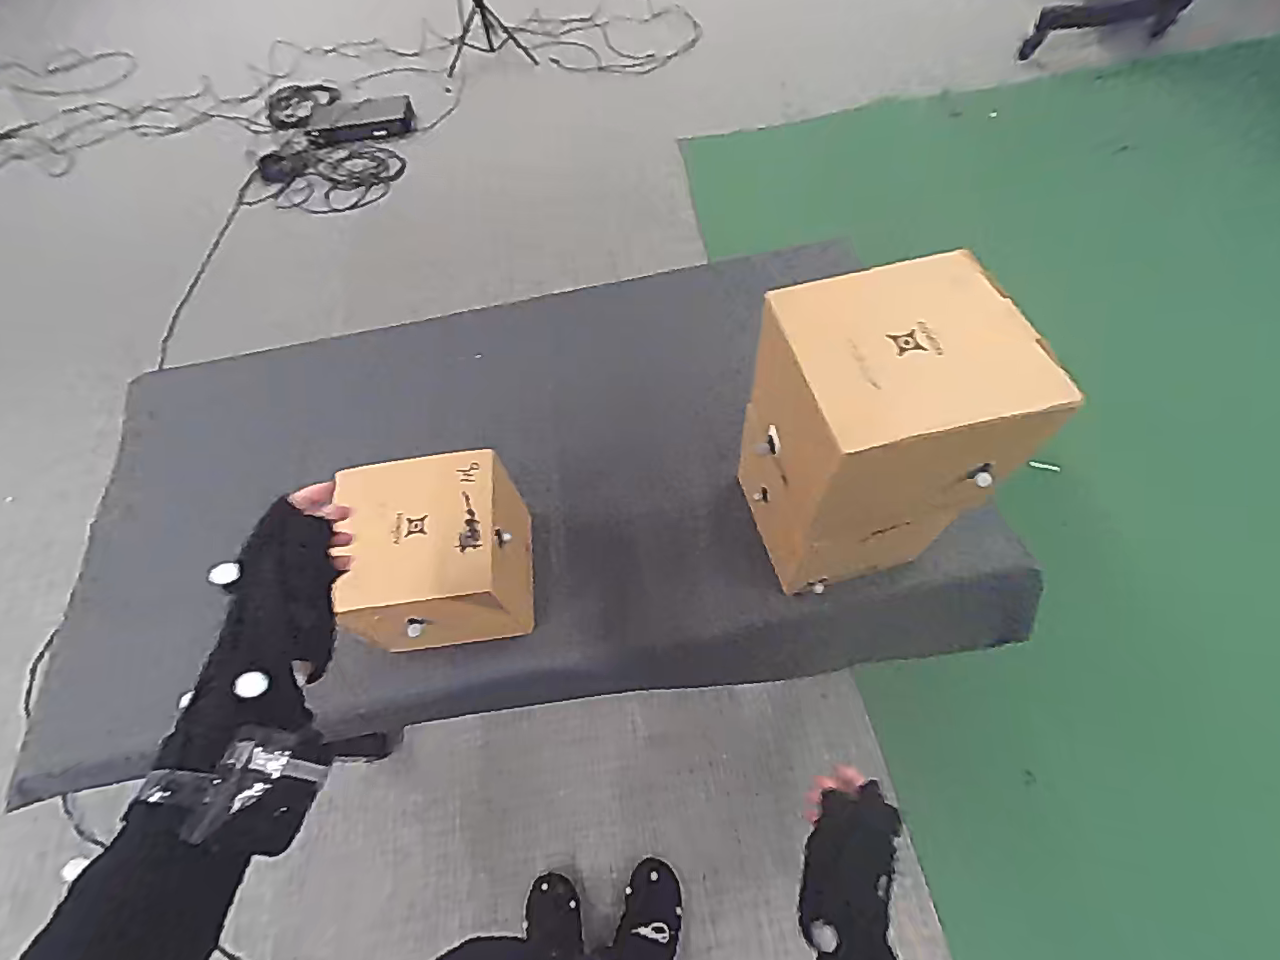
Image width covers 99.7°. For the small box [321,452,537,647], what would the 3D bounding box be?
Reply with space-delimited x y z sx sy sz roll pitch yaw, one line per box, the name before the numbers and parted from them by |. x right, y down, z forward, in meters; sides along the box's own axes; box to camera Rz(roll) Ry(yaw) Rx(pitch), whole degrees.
small box | -0.228 0.089 0.634 0.179 0.176 0.168 -8 60 1

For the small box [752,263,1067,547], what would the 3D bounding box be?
small box | 0.212 -0.058 0.489 0.179 0.176 0.168 -14 59 0

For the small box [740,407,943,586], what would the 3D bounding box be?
small box | 0.225 0.012 0.634 0.168 0.176 0.179 -15 60 -3
